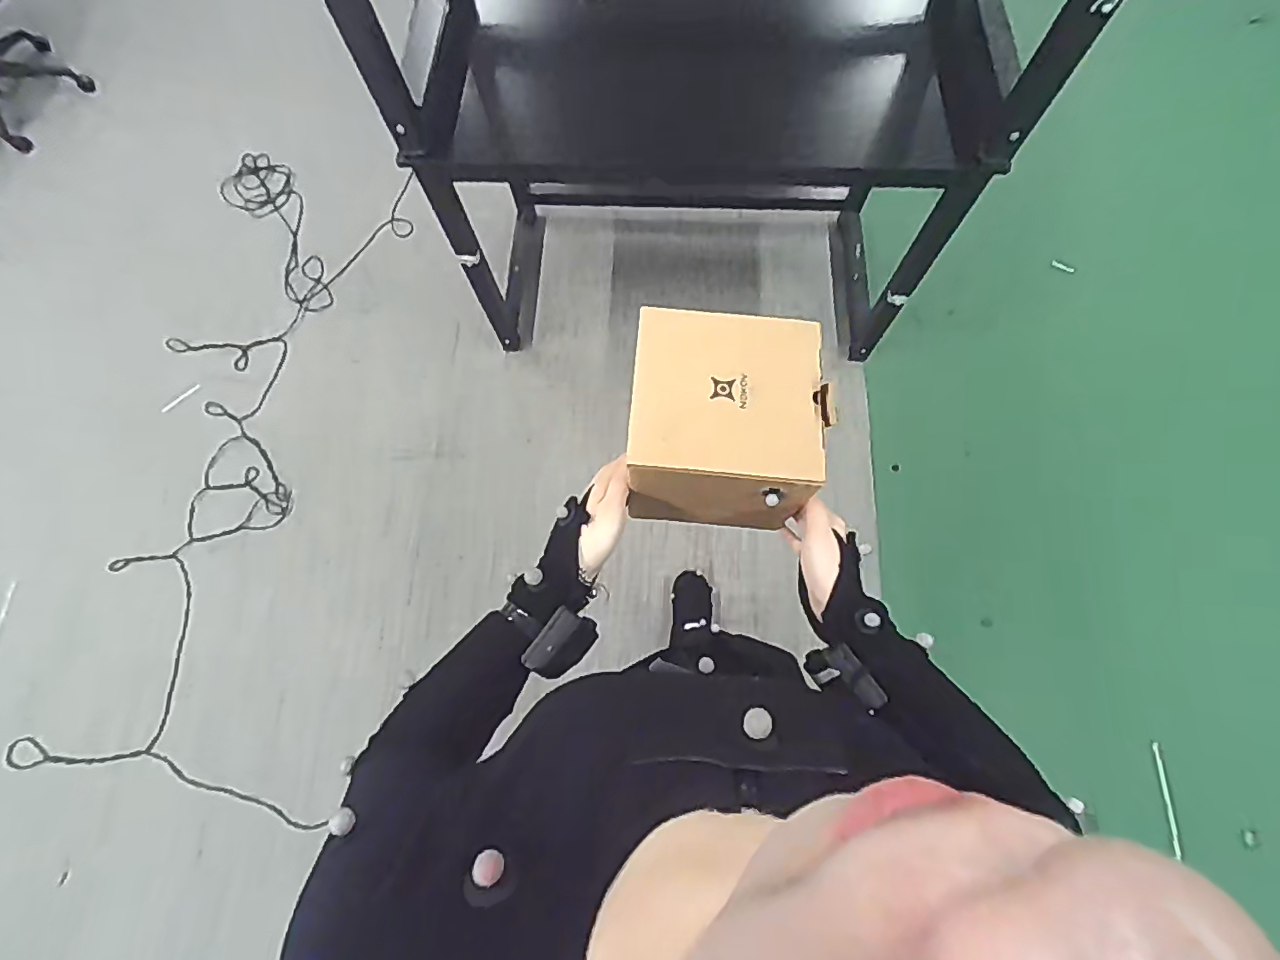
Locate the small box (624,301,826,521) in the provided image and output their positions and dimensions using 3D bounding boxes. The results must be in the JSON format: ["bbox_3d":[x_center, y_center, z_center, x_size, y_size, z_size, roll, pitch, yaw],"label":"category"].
[{"bbox_3d":[0.078,-0.061,0.564,0.179,0.176,0.168,5,70,0],"label":"small box"}]
